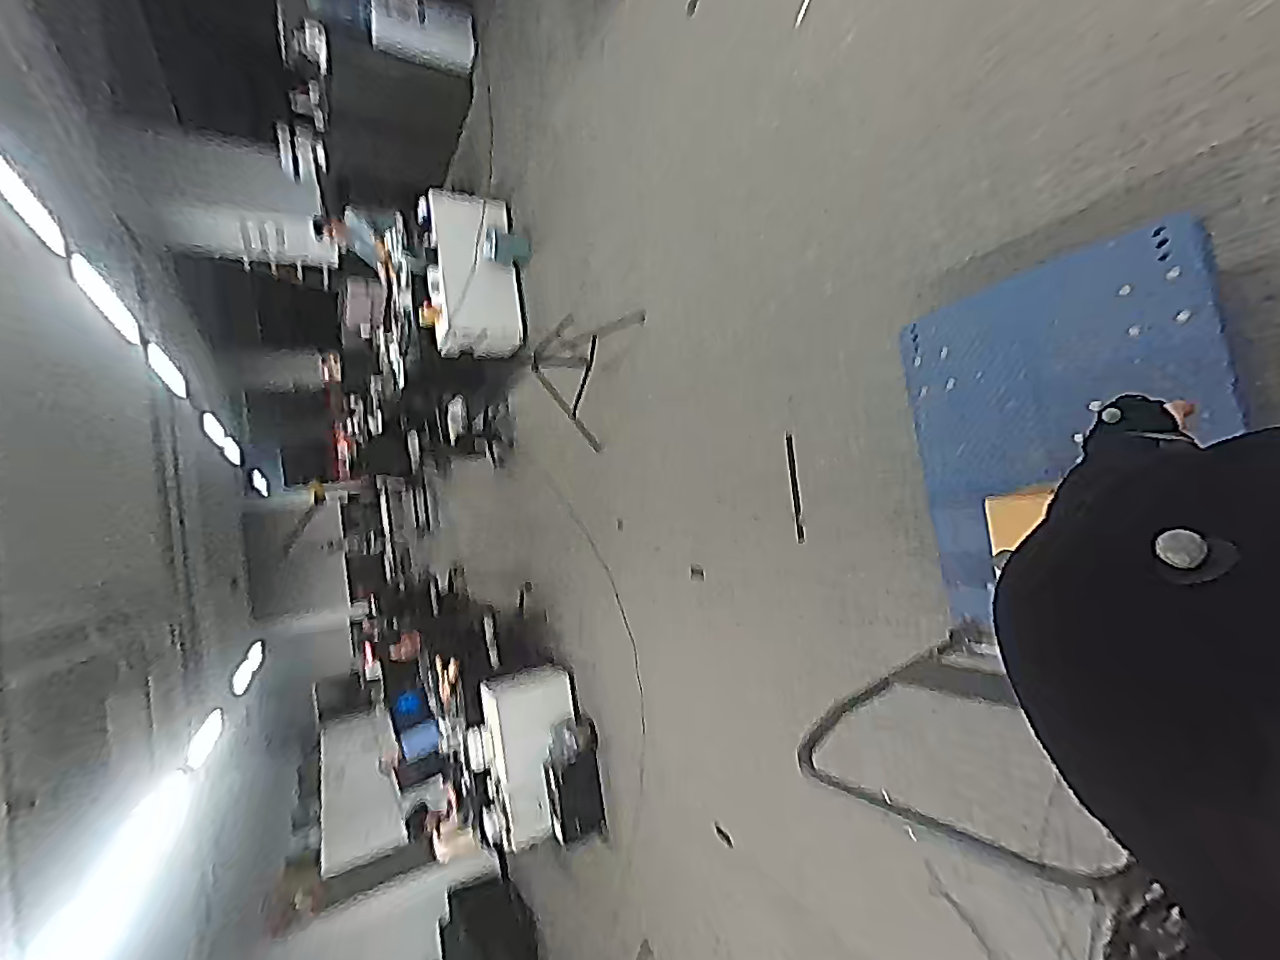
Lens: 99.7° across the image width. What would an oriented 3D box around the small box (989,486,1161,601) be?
[{"bbox_3d":[0.745,0.105,0.931,0.179,0.176,0.168,-12,85,57],"label":"small box"}]
